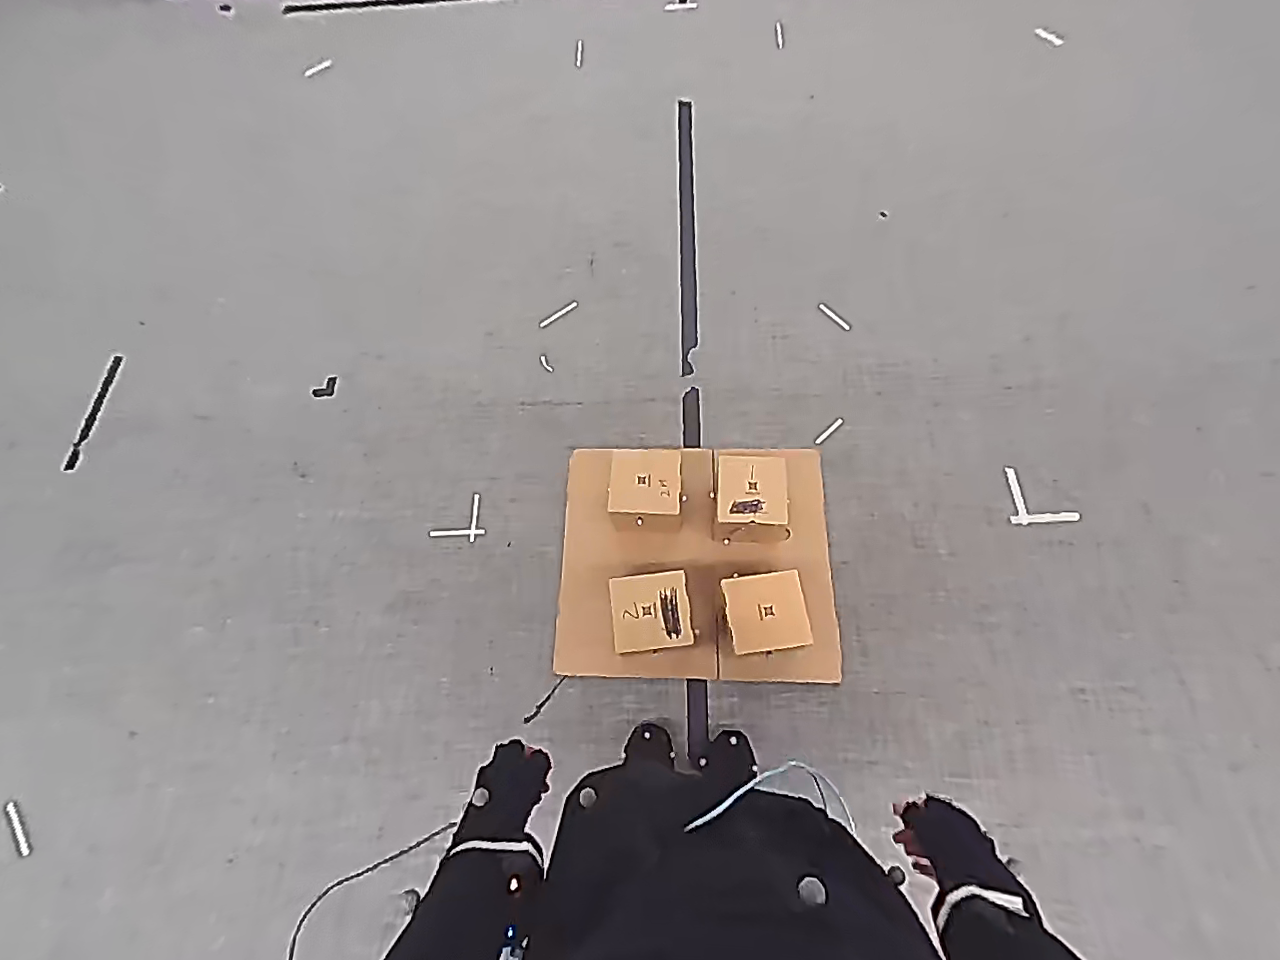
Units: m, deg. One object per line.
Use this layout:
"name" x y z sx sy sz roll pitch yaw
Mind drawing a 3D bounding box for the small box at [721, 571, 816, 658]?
"small box" 0.294 0.321 1.275 0.179 0.176 0.168 -9 68 2
